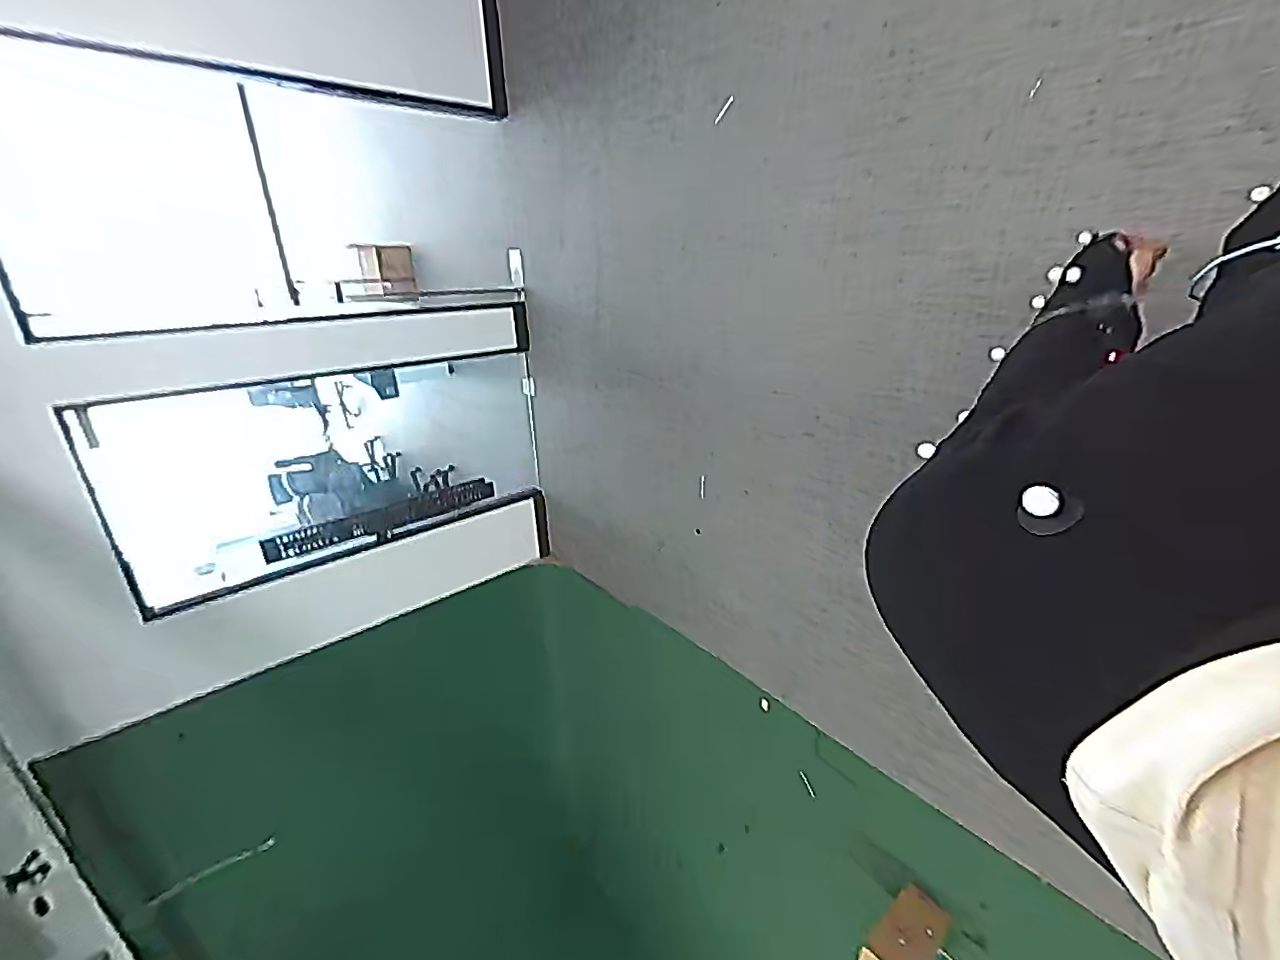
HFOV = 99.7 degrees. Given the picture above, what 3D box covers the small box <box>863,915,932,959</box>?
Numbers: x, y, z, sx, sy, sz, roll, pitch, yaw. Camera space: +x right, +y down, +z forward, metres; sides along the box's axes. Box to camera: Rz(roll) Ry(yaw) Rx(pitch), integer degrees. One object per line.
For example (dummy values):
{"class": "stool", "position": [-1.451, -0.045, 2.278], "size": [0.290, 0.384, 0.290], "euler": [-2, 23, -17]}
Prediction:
{"class": "small box", "position": [0.914, 1.724, 1.927], "size": [0.168, 0.176, 0.179], "euler": [25, 123, 44]}
